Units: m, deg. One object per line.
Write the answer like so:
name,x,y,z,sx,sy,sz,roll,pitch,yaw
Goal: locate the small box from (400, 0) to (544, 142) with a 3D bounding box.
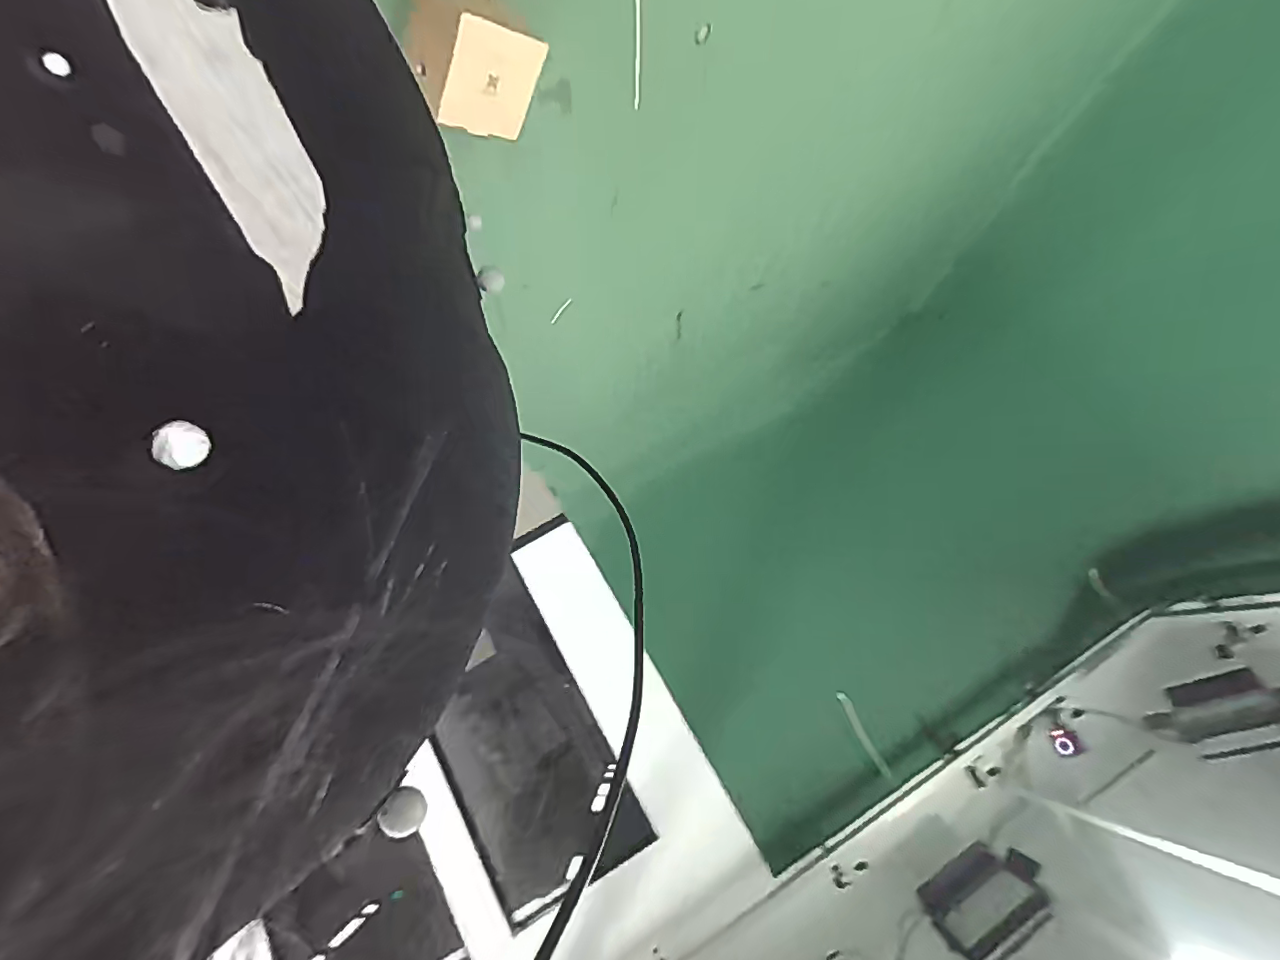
small box,-0.304,-0.750,0.958,0.168,0.176,0.179,-19,159,-42
